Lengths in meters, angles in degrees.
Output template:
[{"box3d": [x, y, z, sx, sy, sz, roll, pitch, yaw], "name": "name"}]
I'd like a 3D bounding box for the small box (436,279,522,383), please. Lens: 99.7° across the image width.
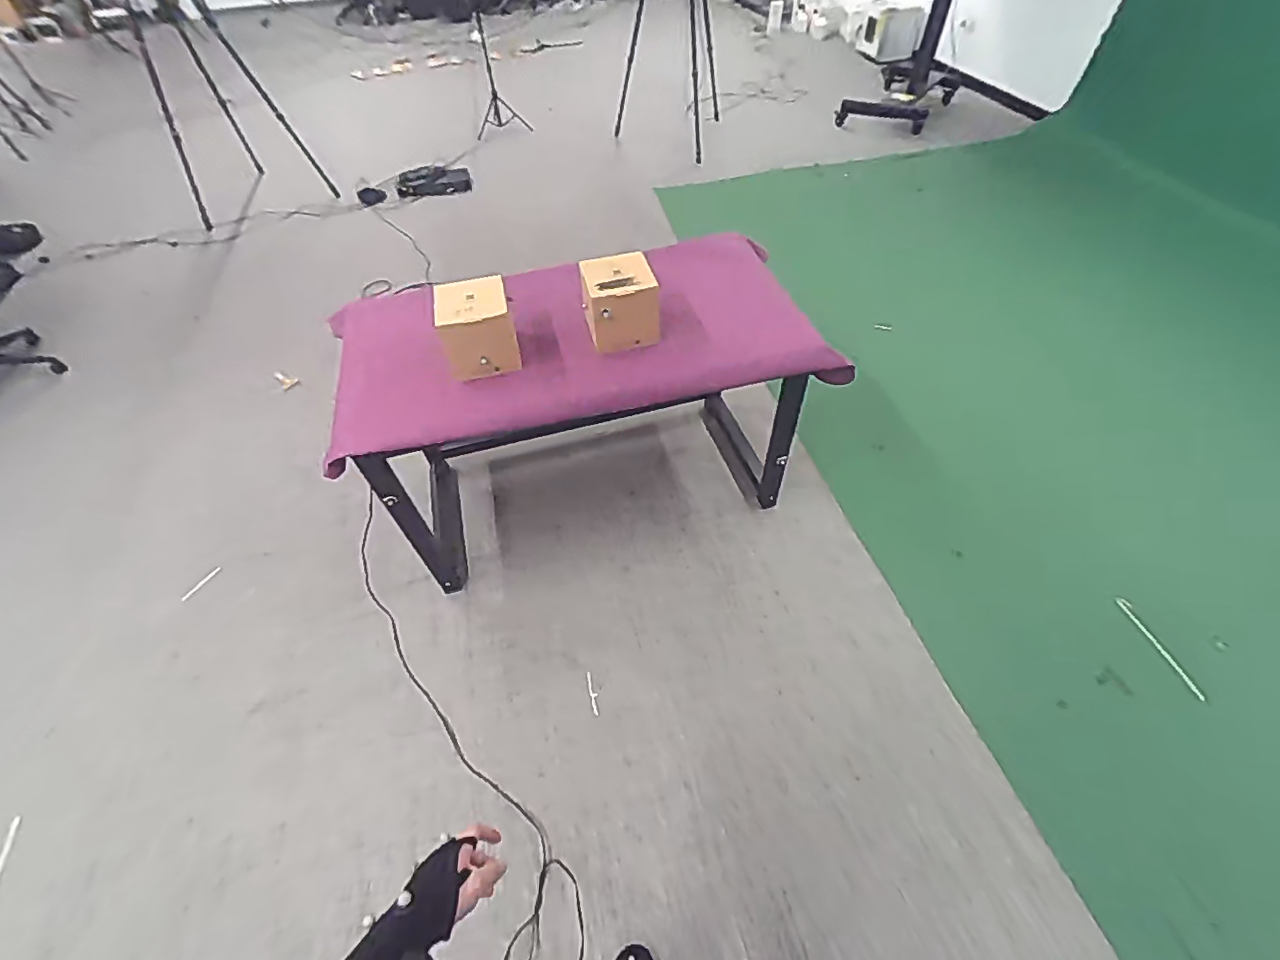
[{"box3d": [-0.393, -0.366, 1.330, 0.168, 0.176, 0.179, -12, 52, -7], "name": "small box"}]
